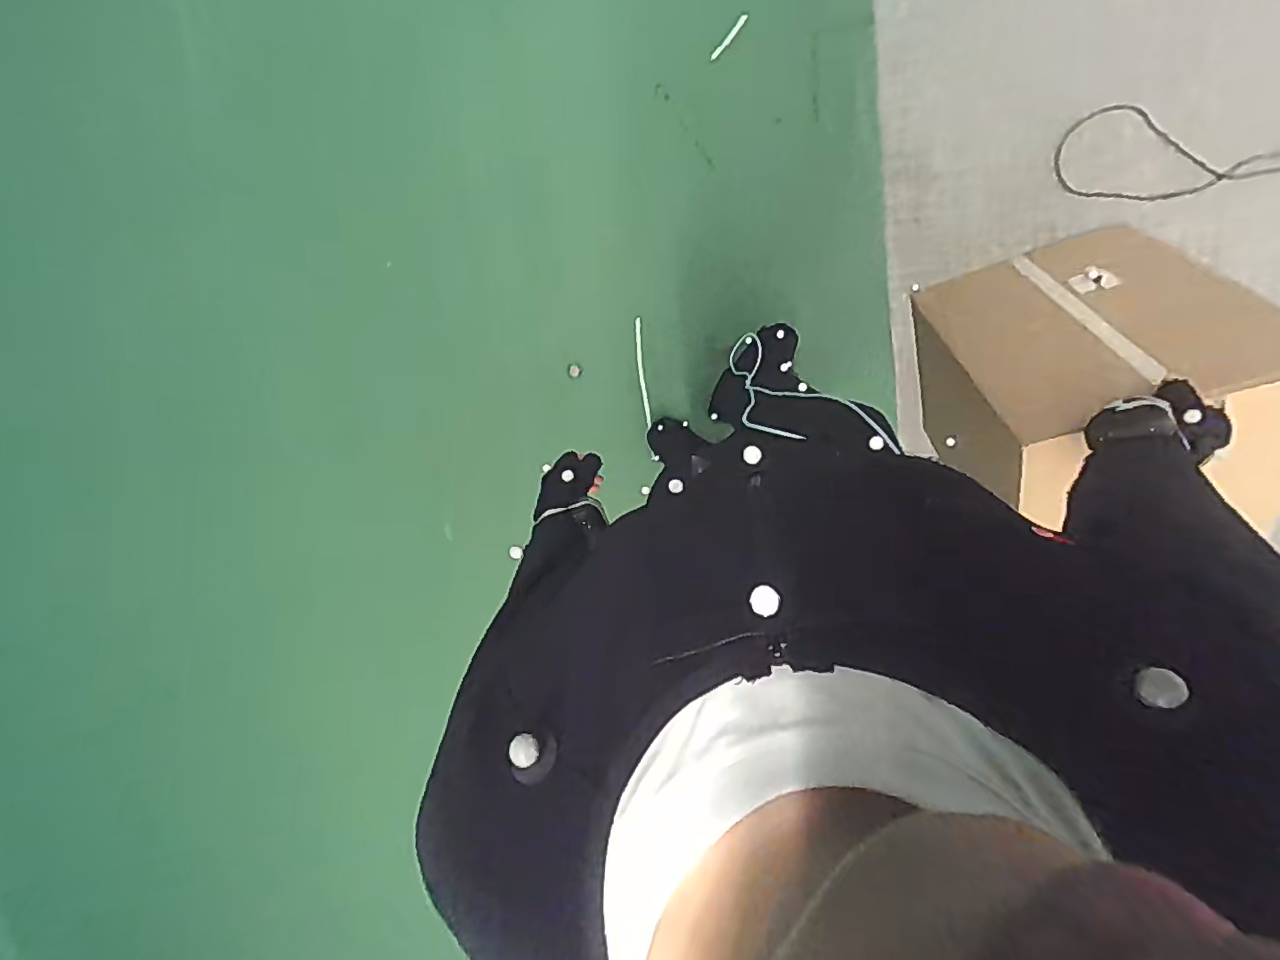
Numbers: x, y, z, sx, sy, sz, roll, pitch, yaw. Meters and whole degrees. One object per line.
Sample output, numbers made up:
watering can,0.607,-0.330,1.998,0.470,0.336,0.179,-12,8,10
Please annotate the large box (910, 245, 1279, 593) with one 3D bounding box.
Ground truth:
large box,0.658,-0.096,0.839,0.320,0.408,0.320,-15,130,16
